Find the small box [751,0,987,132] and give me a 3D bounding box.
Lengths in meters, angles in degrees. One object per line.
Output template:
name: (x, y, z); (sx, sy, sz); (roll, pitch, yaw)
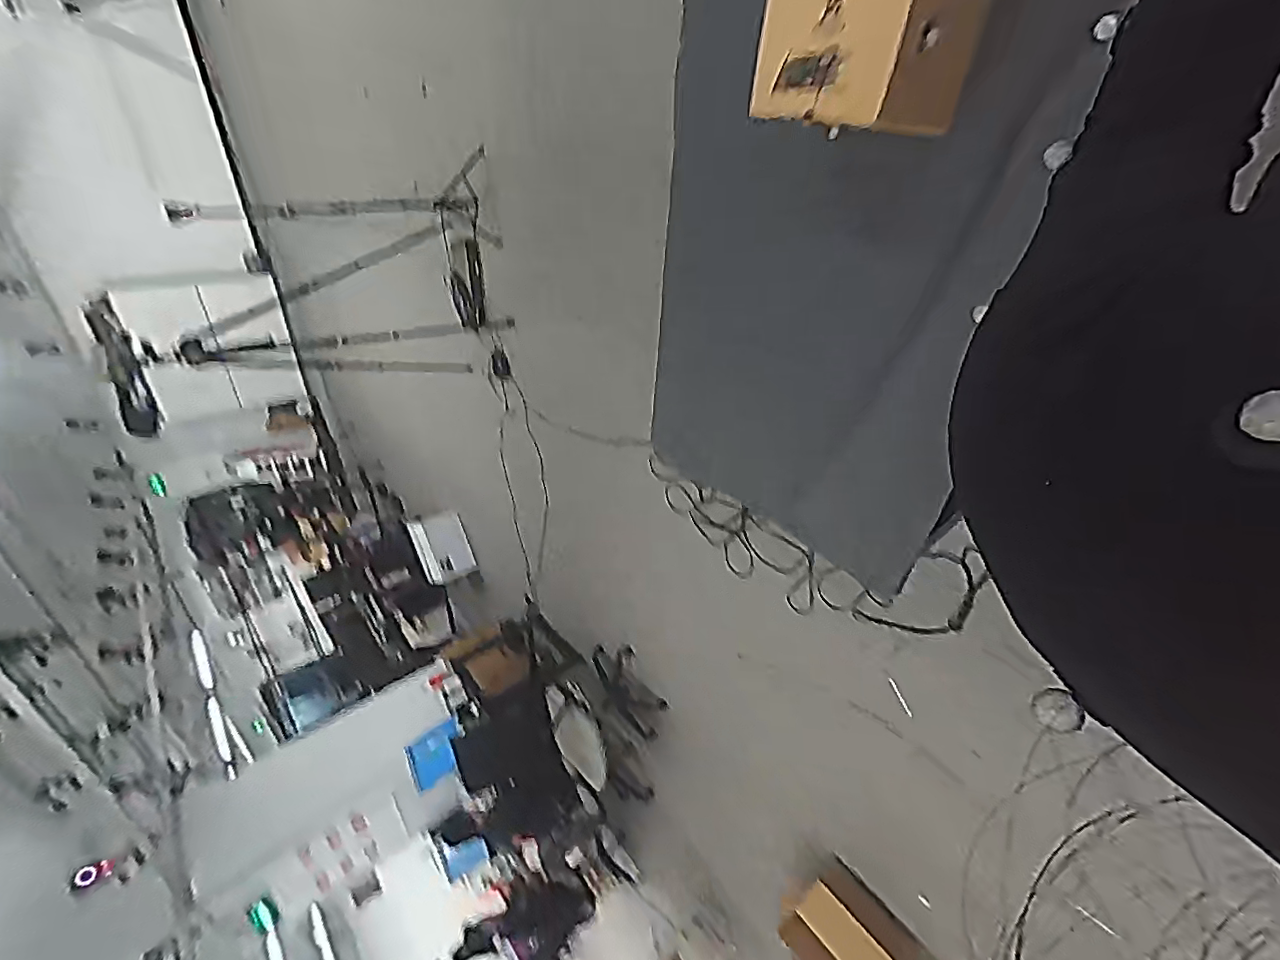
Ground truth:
small box: (0.251, -0.491, 0.589); (0.168, 0.176, 0.179); (36, 134, 36)
